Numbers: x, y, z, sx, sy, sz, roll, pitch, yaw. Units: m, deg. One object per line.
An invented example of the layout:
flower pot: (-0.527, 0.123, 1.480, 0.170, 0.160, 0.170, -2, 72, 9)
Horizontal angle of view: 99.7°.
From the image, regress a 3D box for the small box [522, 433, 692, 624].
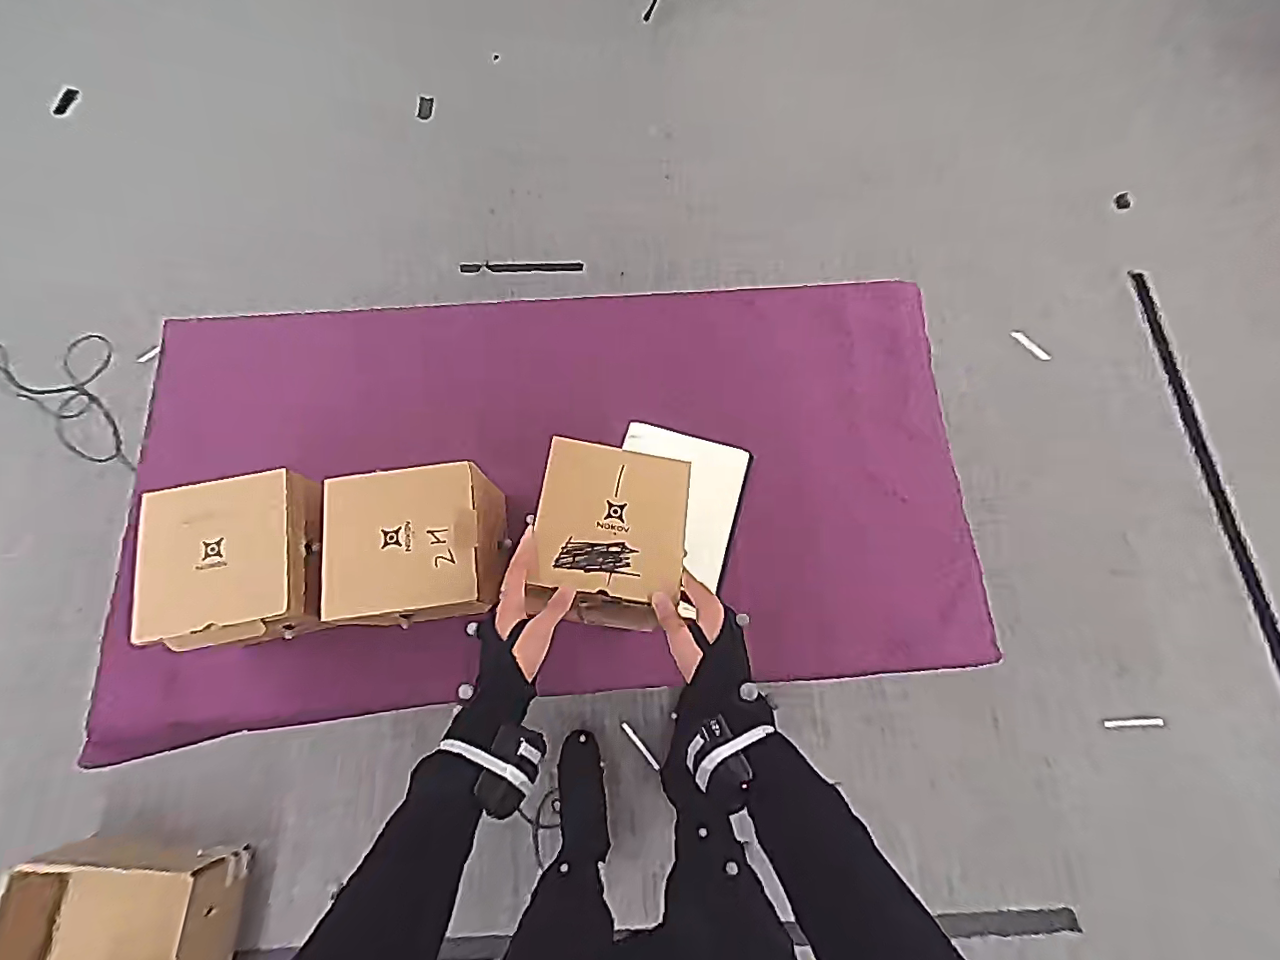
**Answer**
small box: (-0.042, 0.070, 0.661, 0.168, 0.176, 0.179, 11, 64, -6)

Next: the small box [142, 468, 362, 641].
small box: (-0.476, 0.101, 0.690, 0.168, 0.176, 0.179, -10, 74, -4)
